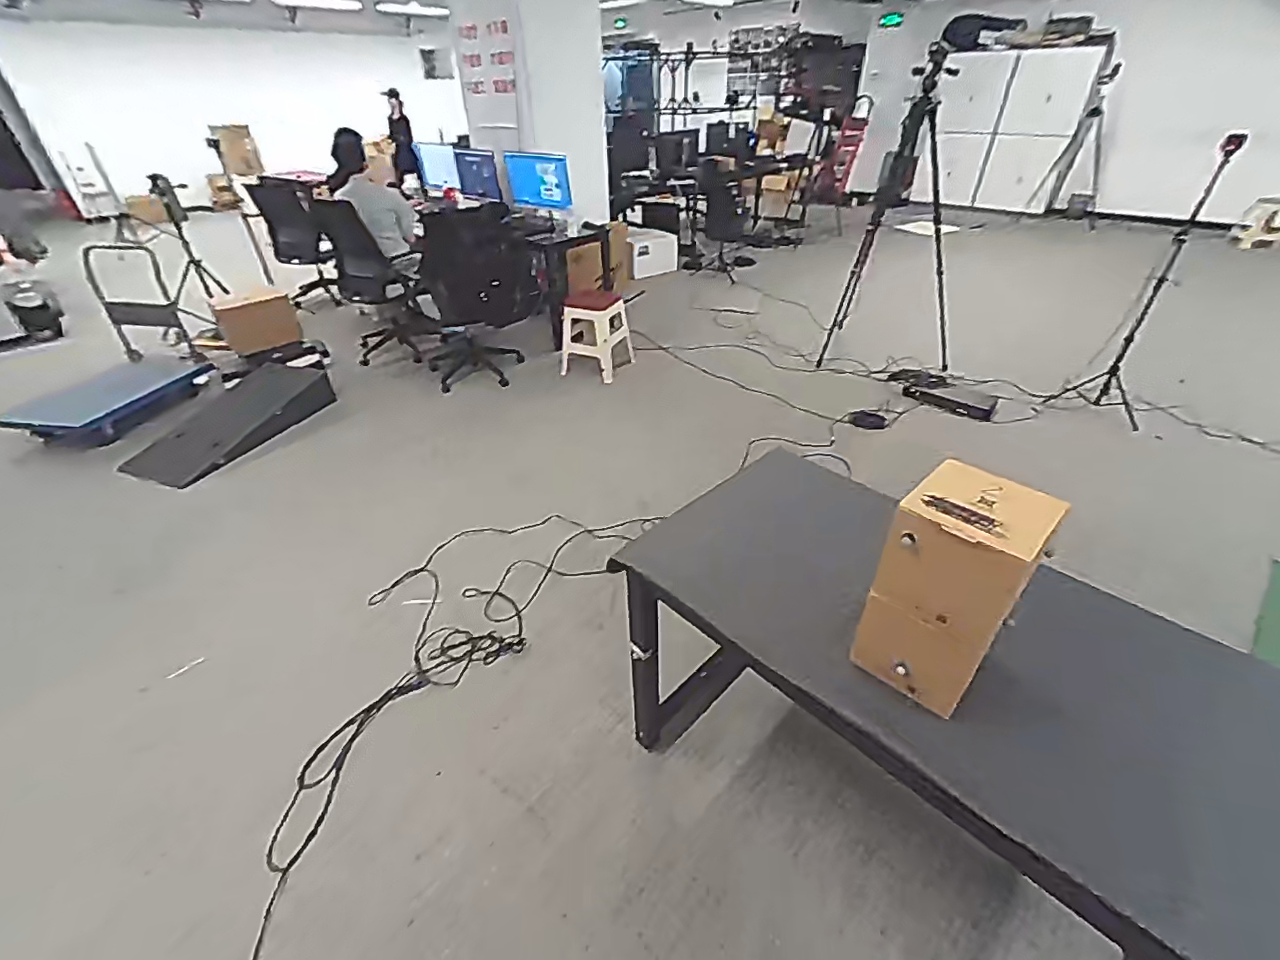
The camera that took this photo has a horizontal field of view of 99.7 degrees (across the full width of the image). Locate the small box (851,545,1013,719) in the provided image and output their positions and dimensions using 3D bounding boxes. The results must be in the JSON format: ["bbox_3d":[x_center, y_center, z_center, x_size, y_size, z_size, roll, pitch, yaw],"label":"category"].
[{"bbox_3d":[0.469,0.245,0.888,0.168,0.176,0.179,28,44,35],"label":"small box"}]
